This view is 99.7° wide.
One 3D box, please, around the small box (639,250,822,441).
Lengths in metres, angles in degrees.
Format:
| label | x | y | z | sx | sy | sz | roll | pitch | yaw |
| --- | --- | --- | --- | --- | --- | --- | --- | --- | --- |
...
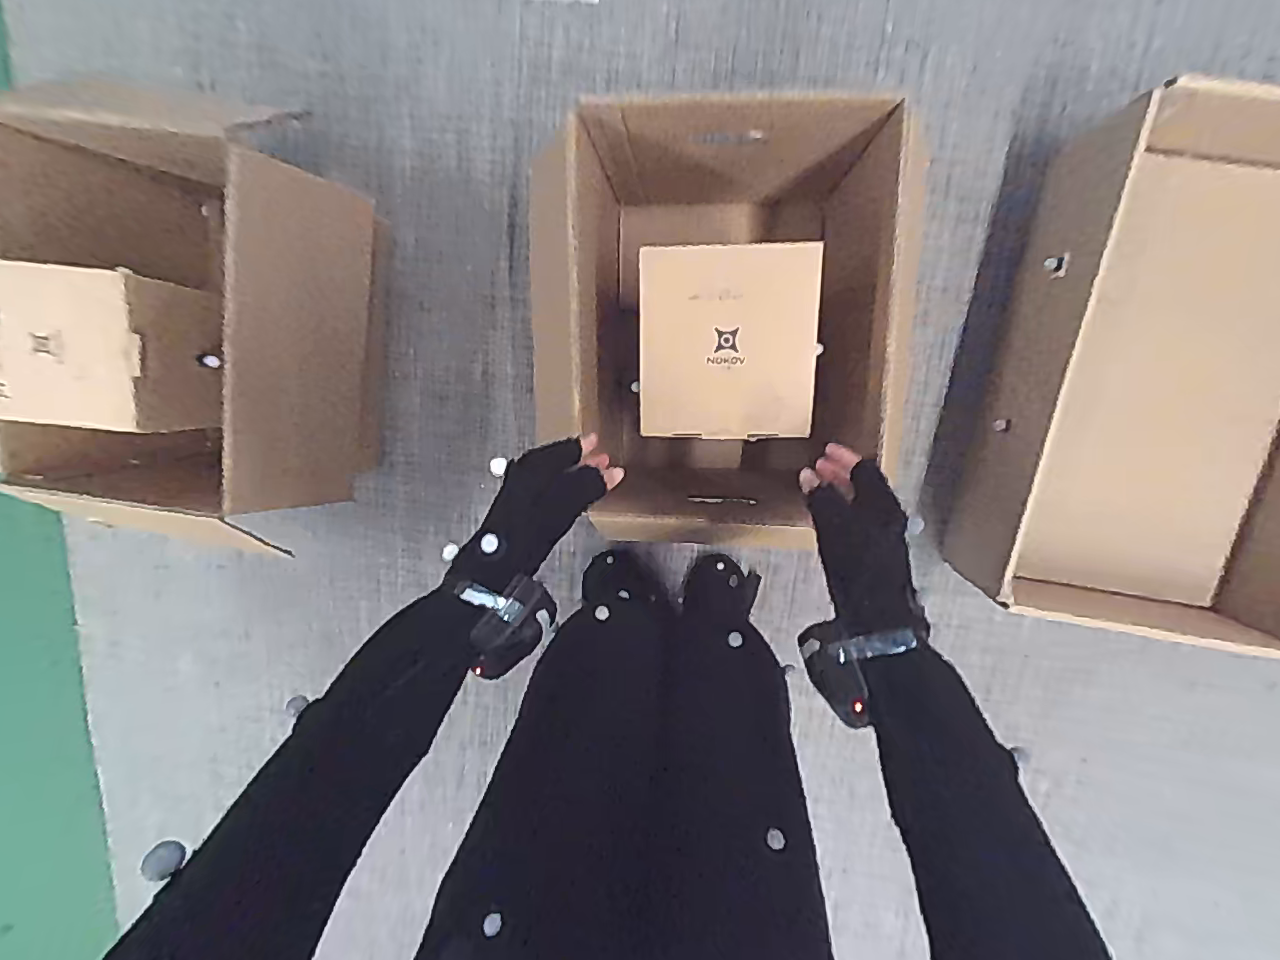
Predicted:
| label | x | y | z | sx | sy | sz | roll | pitch | yaw |
| --- | --- | --- | --- | --- | --- | --- | --- | --- | --- |
| small box | 0.088 | -0.142 | 0.587 | 0.168 | 0.176 | 0.179 | 1 | 103 | 4 |
